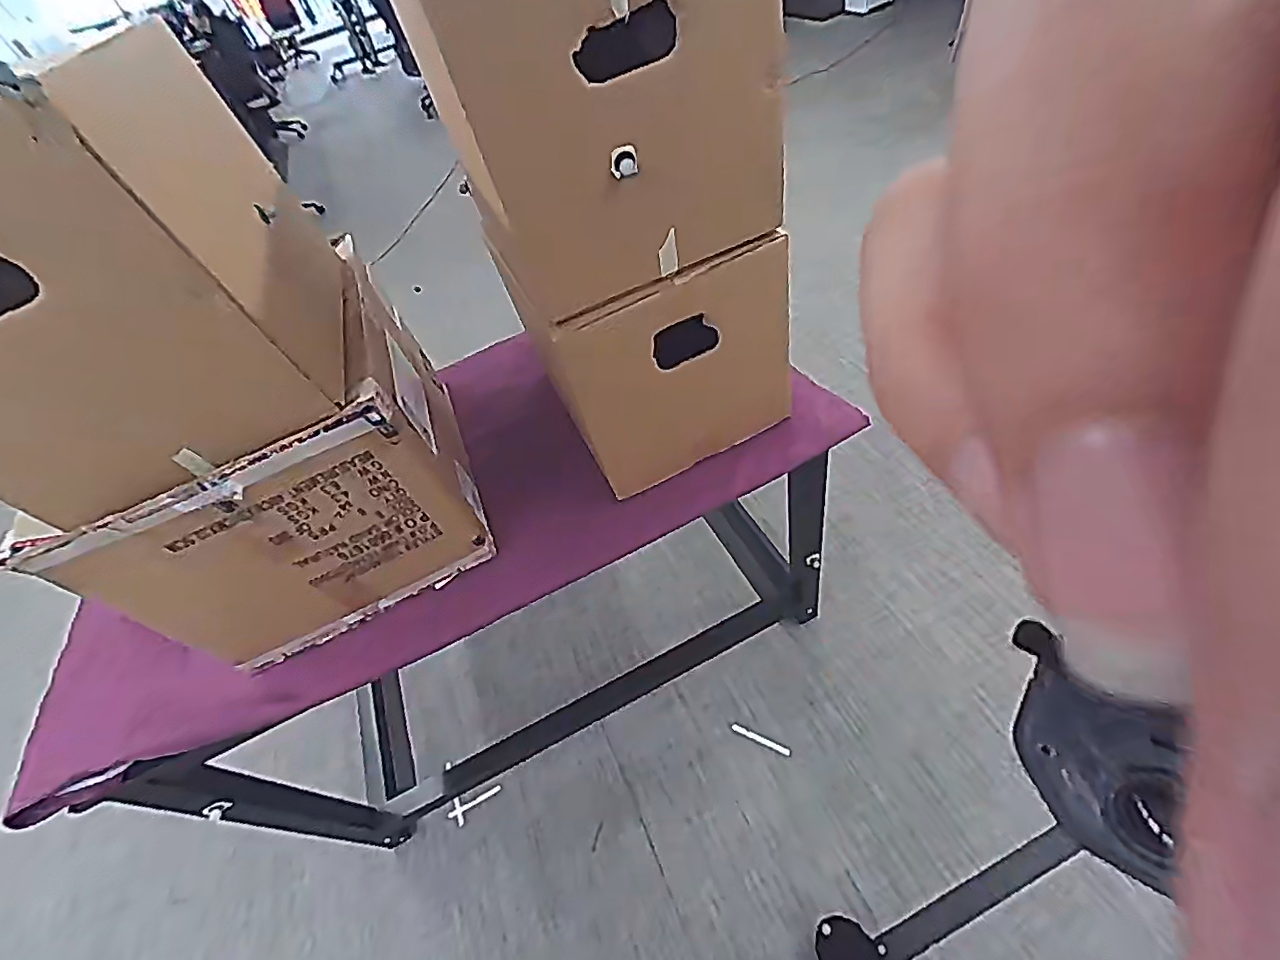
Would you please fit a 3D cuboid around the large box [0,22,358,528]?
[{"bbox_3d":[-0.551,-0.230,0.589,0.320,0.320,0.408,-28,50,-3],"label":"large box"}]
